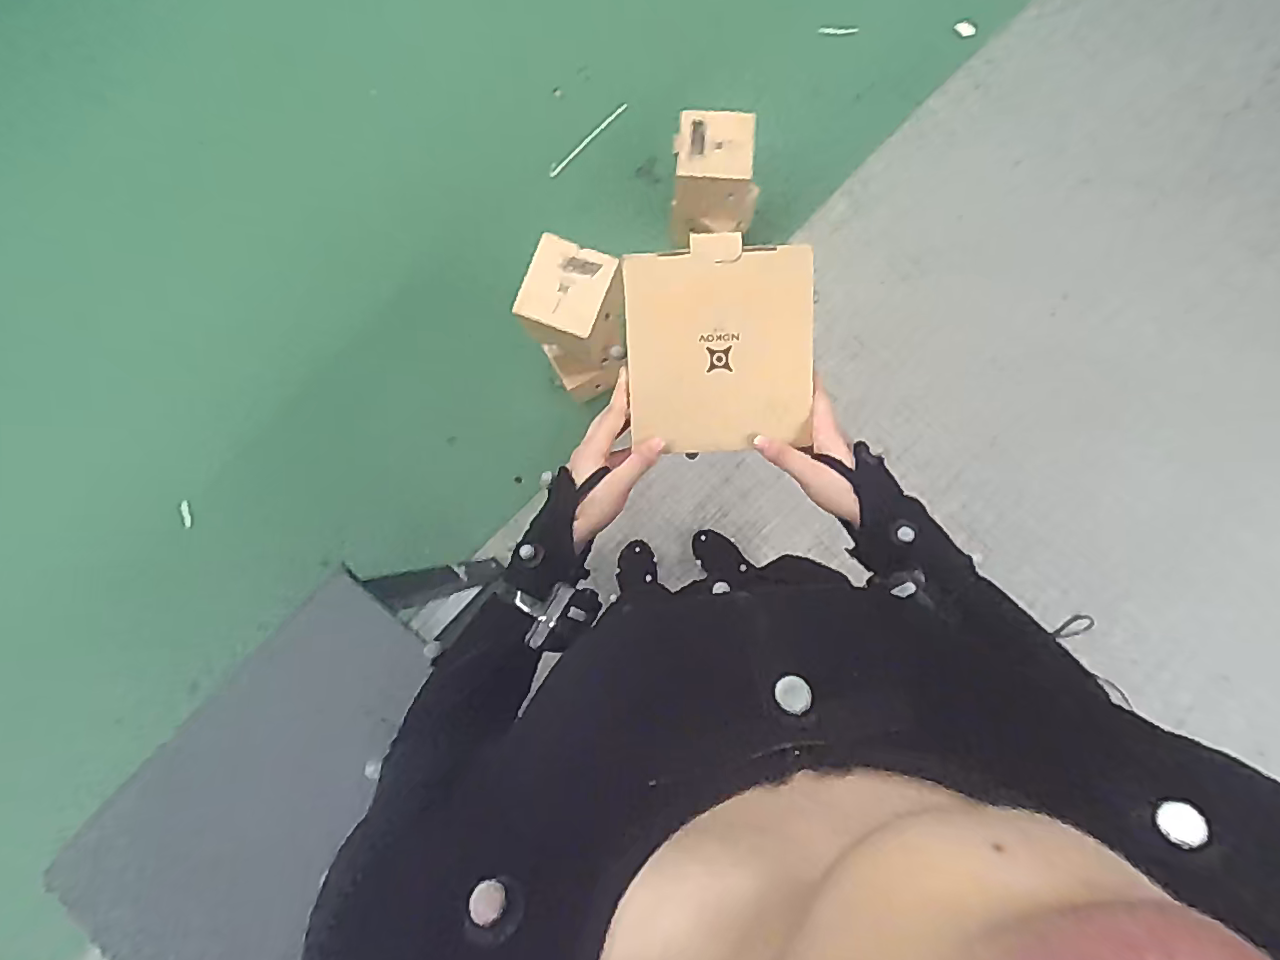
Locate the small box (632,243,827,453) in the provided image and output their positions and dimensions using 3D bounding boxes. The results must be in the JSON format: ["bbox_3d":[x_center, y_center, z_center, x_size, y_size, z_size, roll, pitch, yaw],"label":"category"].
[{"bbox_3d":[0.079,-0.125,0.548,0.168,0.176,0.179,-2,99,1],"label":"small box"}]

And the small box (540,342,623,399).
[{"bbox_3d":[-0.155,-0.334,1.462,0.168,0.176,0.179,-29,84,-2],"label":"small box"}]

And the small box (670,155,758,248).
[{"bbox_3d":[0.197,-0.737,1.490,0.179,0.176,0.168,35,86,5],"label":"small box"}]

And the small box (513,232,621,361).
[{"bbox_3d":[-0.145,-0.377,1.138,0.168,0.176,0.179,21,86,2],"label":"small box"}]

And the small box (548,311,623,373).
[{"bbox_3d":[-0.134,-0.368,1.302,0.168,0.176,0.179,-9,84,-1],"label":"small box"}]
